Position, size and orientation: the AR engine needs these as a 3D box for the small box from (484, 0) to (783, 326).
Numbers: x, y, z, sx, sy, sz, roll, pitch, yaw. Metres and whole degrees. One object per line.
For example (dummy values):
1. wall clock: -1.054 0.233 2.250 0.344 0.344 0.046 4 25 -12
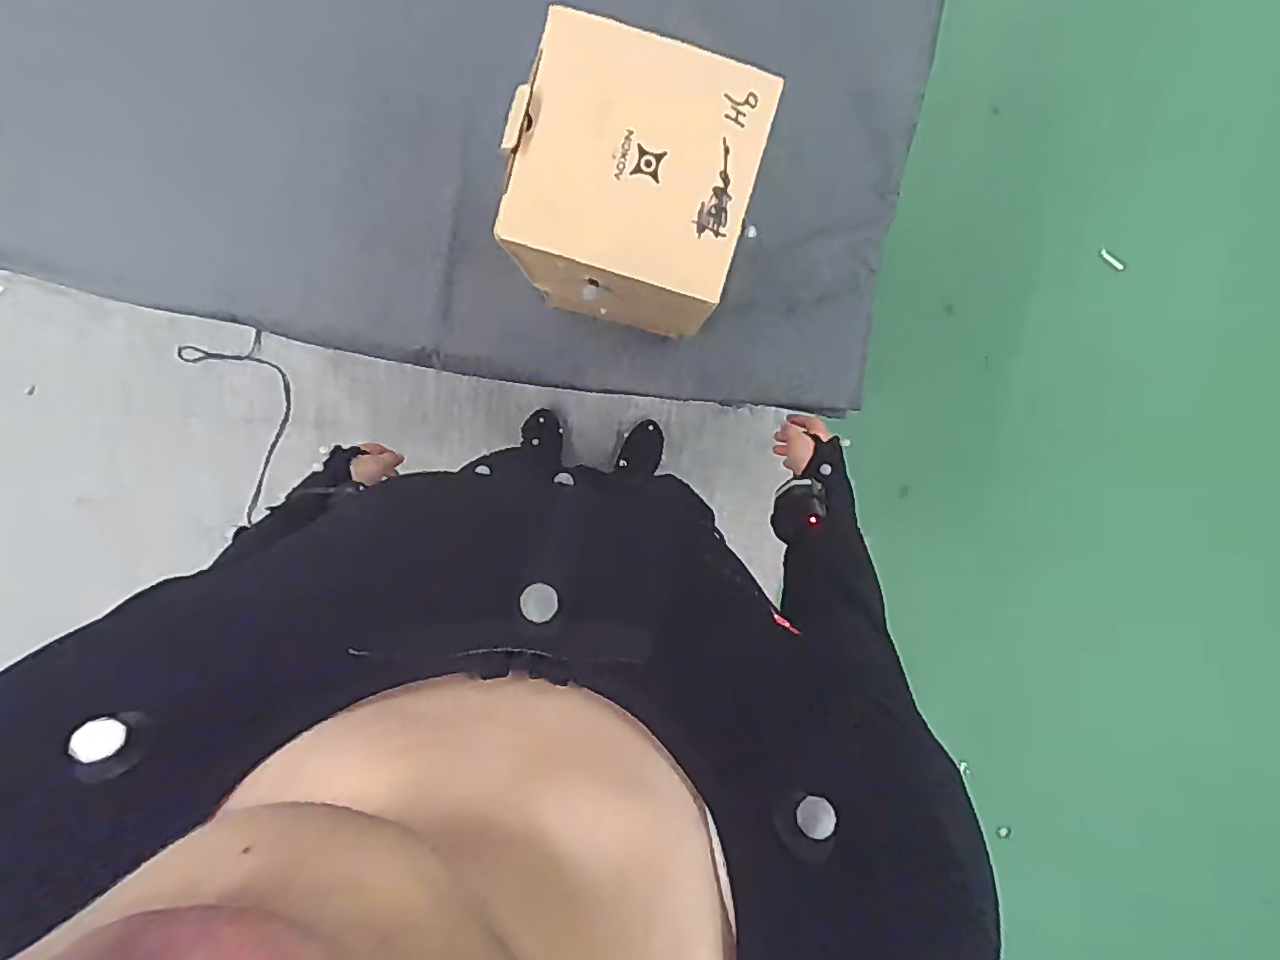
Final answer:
1. small box: -0.006 -0.241 0.458 0.179 0.176 0.168 16 97 -2
